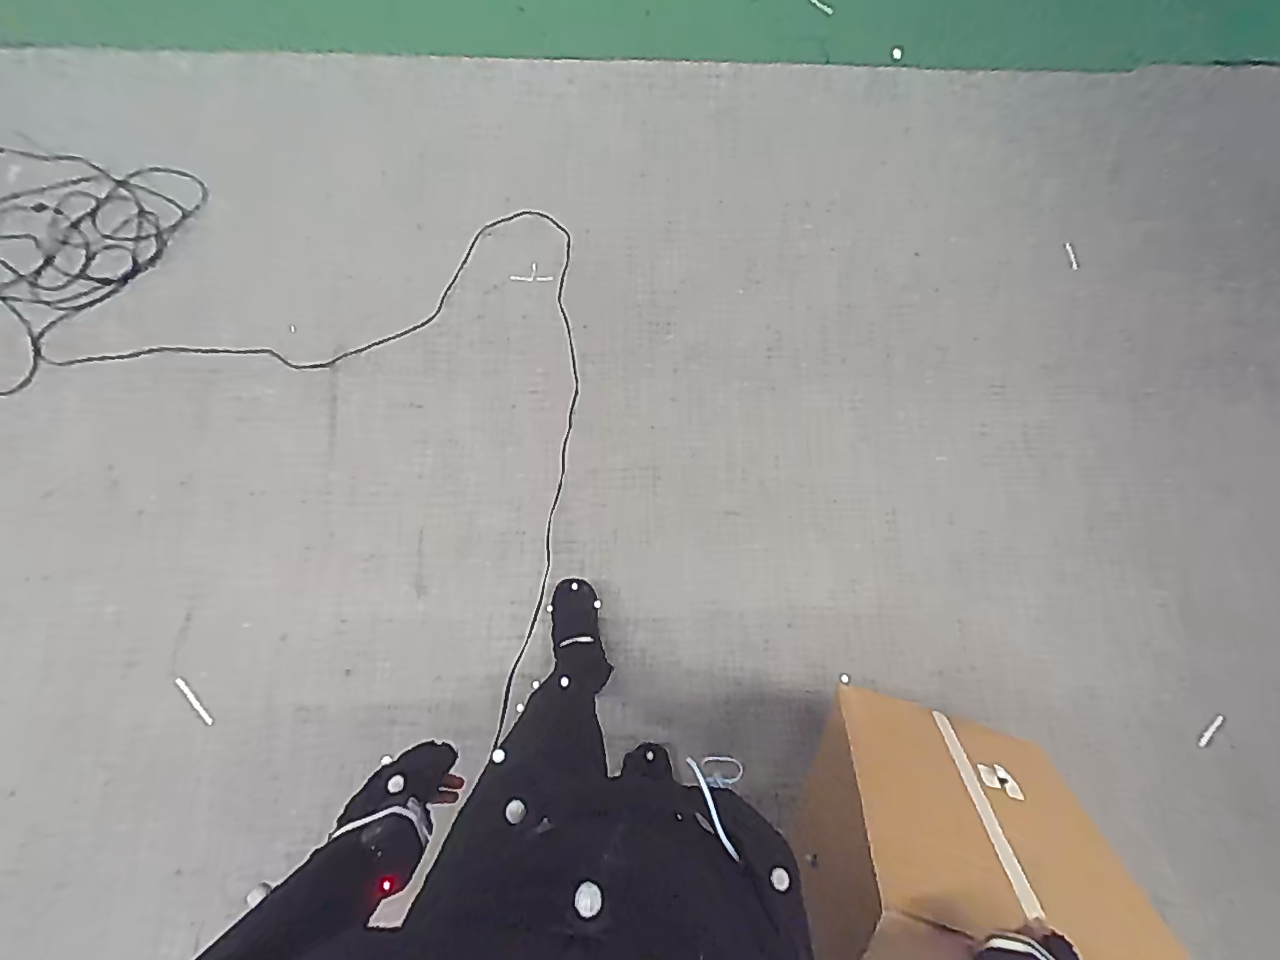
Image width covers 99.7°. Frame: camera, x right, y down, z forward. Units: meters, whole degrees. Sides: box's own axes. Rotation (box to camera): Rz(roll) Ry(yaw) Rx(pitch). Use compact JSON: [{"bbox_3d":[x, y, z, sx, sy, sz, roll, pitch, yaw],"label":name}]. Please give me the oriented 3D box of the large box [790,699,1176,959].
[{"bbox_3d":[0.396,0.576,0.714,0.320,0.408,0.320,16,103,10],"label":"large box"}]
